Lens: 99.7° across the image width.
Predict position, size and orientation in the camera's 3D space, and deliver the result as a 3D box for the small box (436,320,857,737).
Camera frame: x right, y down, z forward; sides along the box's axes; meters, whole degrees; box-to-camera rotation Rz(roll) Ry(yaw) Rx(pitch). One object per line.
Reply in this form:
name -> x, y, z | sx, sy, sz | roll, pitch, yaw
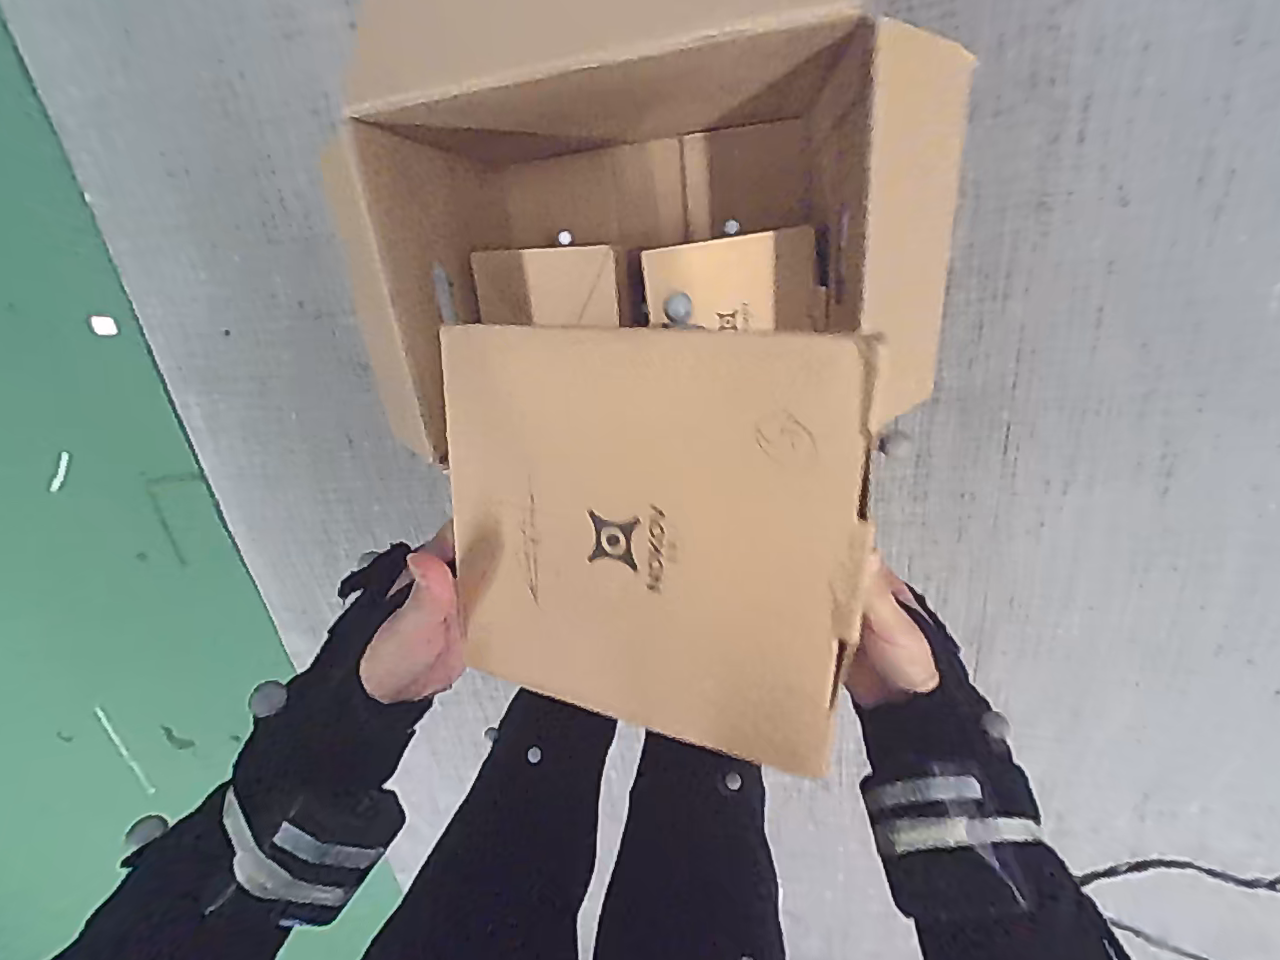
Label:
small box -> 0.019, -0.001, 0.300 | 0.179, 0.176, 0.168 | 7, 105, 23
